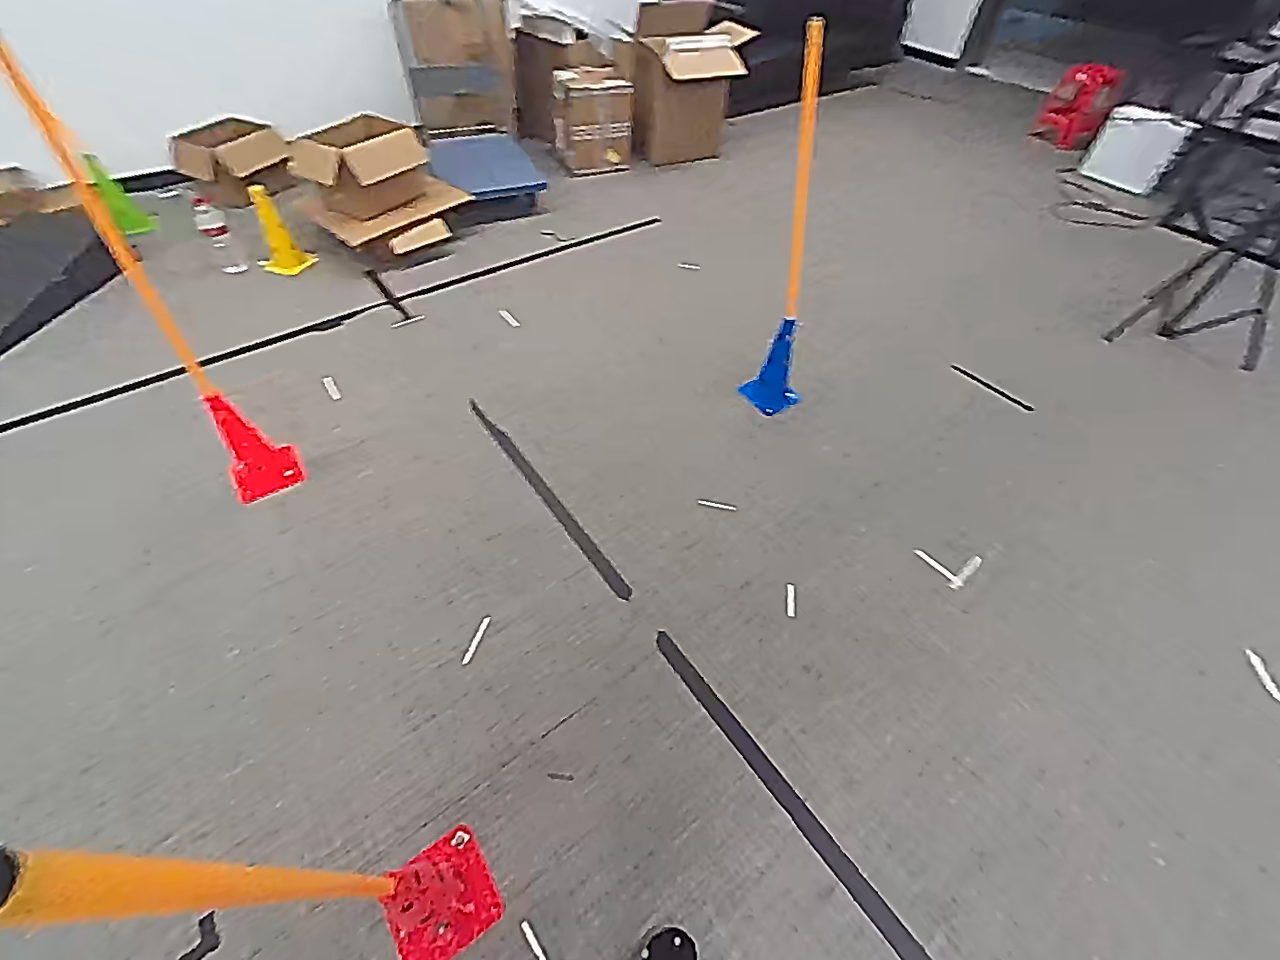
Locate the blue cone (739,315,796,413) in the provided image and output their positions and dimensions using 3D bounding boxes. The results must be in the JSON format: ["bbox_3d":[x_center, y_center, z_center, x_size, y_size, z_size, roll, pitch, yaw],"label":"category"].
[{"bbox_3d":[0.525,-0.462,2.068,0.193,0.380,0.192,-26,56,-23],"label":"blue cone"}]

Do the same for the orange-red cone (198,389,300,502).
[{"bbox_3d":[-1.250,-0.135,1.674,0.198,0.360,0.199,-26,55,-23],"label":"orange-red cone"}]
